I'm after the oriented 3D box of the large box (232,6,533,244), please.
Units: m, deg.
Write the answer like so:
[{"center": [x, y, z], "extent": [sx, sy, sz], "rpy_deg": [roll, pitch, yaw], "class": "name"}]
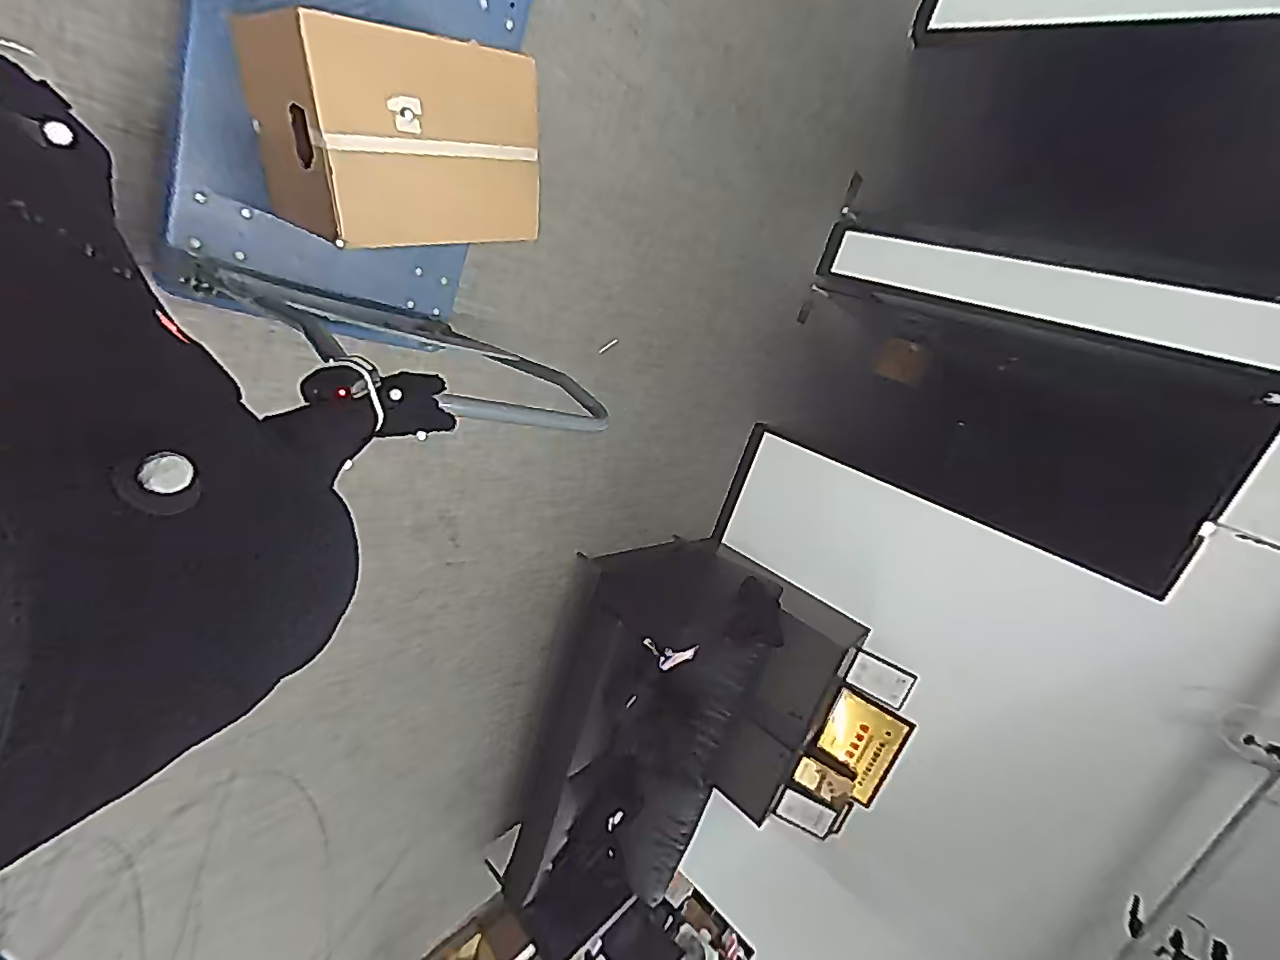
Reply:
[{"center": [-0.457, -0.656, 1.025], "extent": [0.408, 0.320, 0.320], "rpy_deg": [-25, 134, -39], "class": "large box"}]
